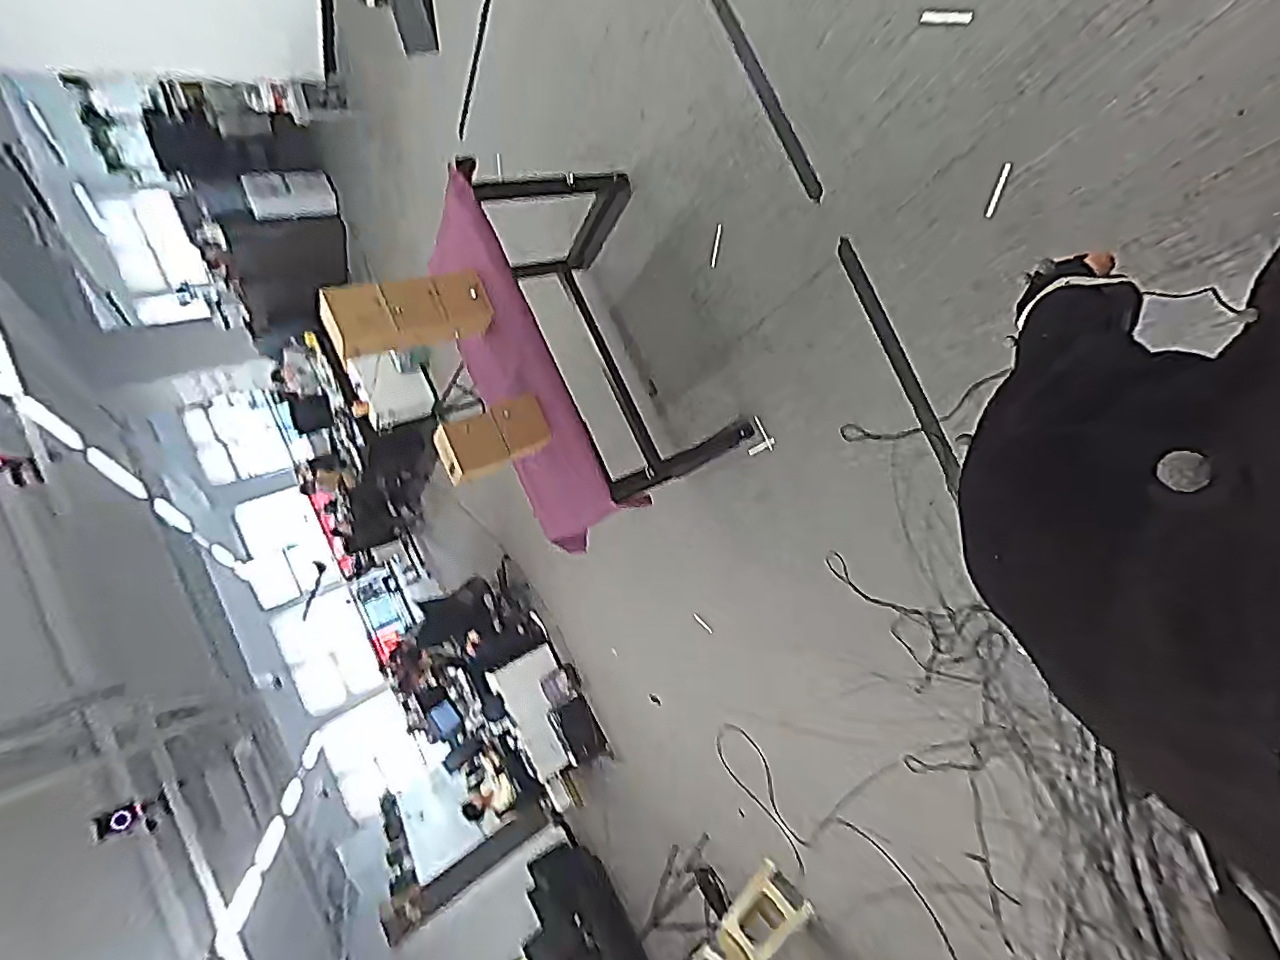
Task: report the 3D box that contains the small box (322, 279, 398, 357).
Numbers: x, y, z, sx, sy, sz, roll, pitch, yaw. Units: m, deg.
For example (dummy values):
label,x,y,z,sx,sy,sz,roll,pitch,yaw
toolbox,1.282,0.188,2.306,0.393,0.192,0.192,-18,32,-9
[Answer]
label,x,y,z,sx,sy,sz,roll,pitch,yaw
small box,-0.880,-0.513,1.709,0.179,0.176,0.168,-21,93,59

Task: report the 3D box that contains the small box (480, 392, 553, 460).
label,x,y,z,sx,sy,sz,roll,pitch,yaw
small box,-0.425,-0.191,1.863,0.168,0.176,0.179,-24,90,59

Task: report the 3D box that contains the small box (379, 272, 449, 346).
label,x,y,z,sx,sy,sz,roll,pitch,yaw
small box,-0.755,-0.567,1.799,0.179,0.176,0.168,-20,93,59

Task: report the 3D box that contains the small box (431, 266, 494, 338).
label,x,y,z,sx,sy,sz,roll,pitch,yaw
small box,-0.629,-0.622,1.889,0.179,0.176,0.168,-25,90,58
